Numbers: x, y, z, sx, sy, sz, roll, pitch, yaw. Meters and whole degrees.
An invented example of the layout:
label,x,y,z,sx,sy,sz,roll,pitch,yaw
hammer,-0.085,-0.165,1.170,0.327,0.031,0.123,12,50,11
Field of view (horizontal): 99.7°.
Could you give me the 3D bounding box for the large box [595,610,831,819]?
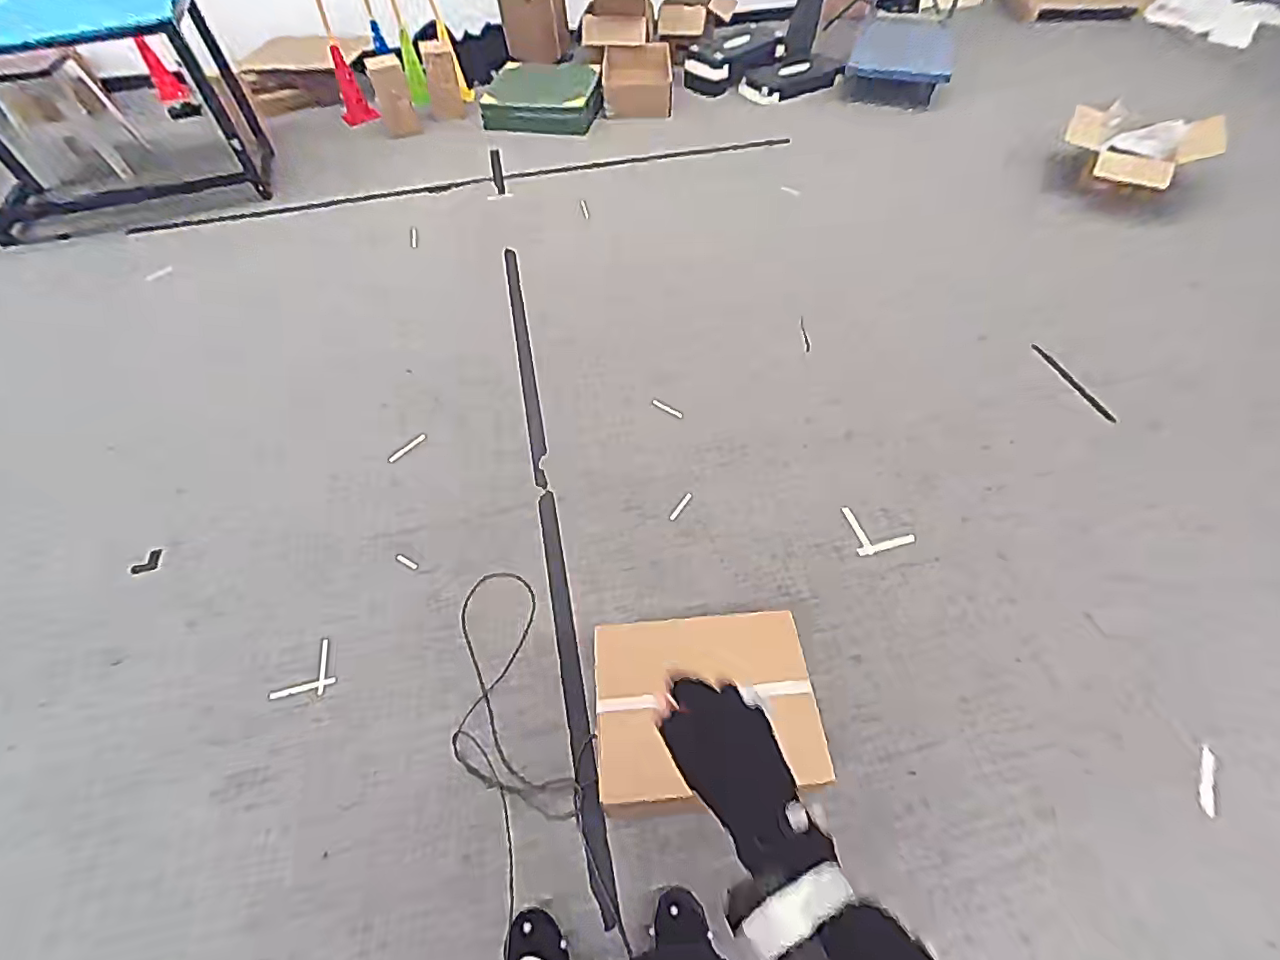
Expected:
label,x,y,z,sx,sy,sz,roll,pitch,yaw
large box,0.121,0.496,1.131,0.408,0.320,0.320,-4,54,-3
